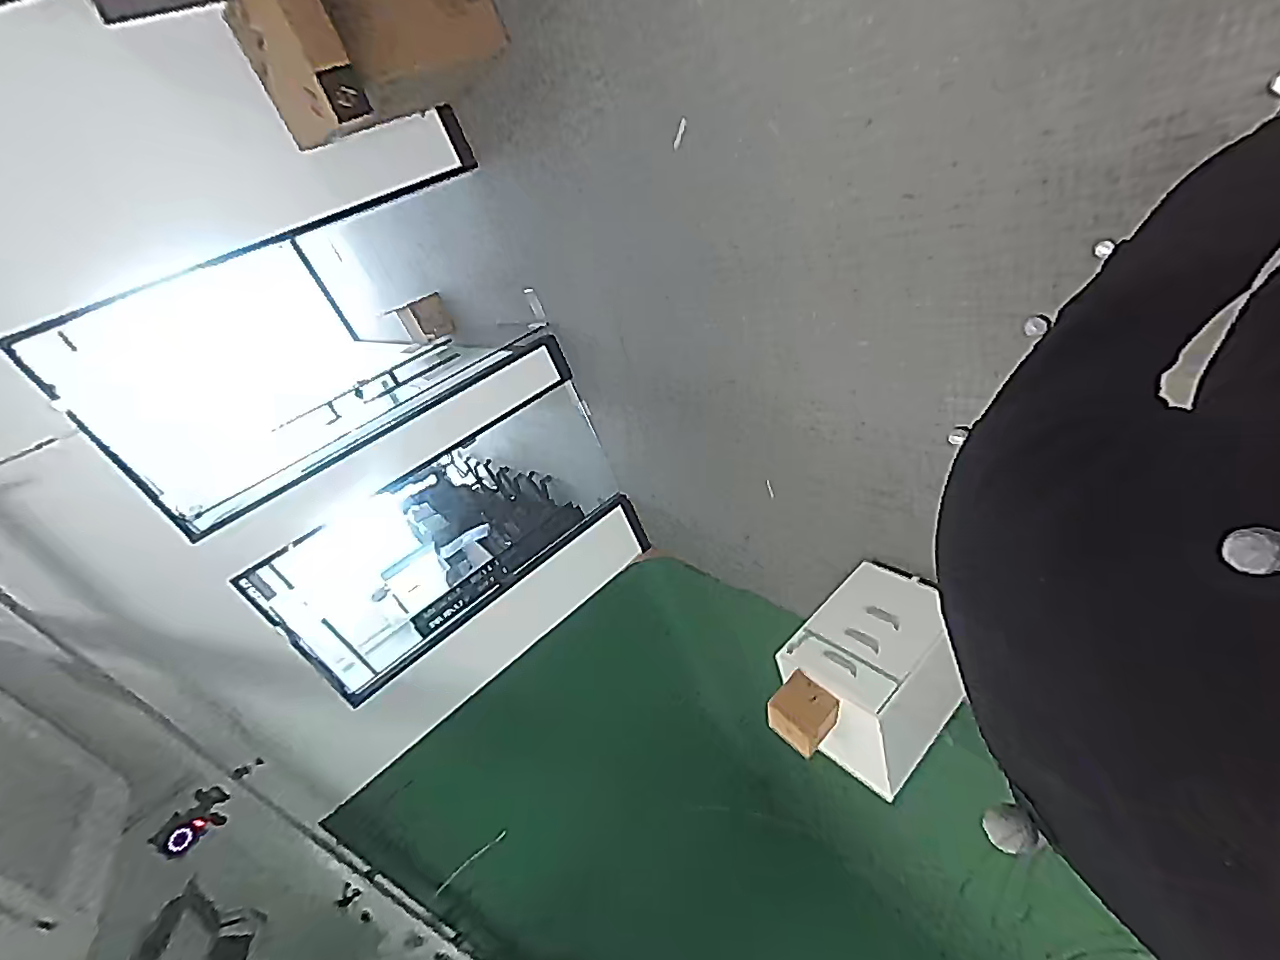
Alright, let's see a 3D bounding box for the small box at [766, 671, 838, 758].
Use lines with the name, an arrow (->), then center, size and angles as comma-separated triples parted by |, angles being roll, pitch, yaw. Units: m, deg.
small box -> 0.545, 0.785, 1.816 | 0.168, 0.176, 0.179 | 32, 149, 39
